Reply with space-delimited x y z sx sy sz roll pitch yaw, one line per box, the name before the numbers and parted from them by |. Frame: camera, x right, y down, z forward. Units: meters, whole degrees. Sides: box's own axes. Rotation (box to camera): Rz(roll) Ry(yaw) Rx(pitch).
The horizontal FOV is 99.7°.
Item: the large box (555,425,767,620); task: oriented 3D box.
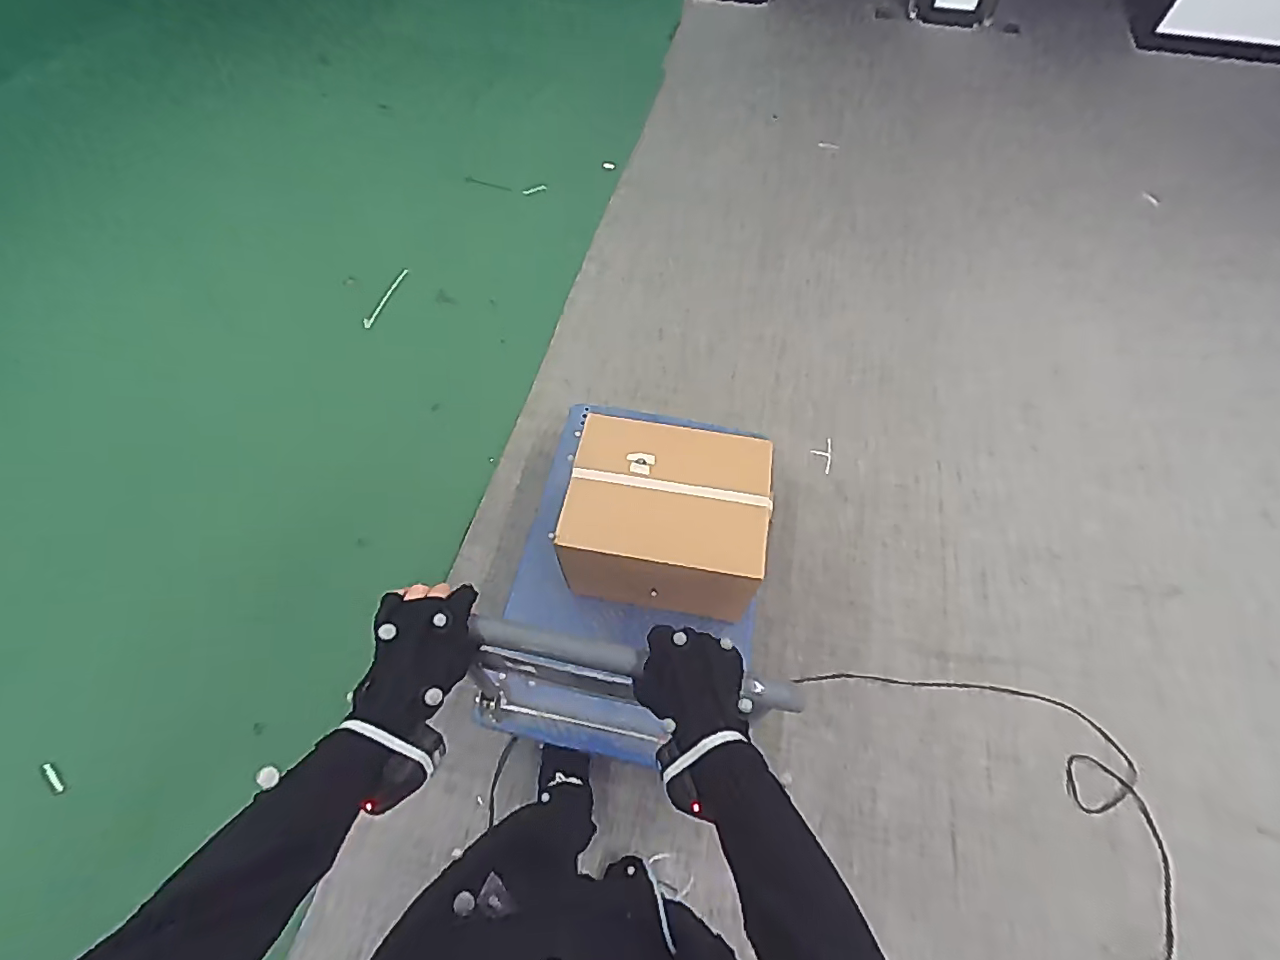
large box | 0.058 0.106 1.228 0.408 0.320 0.320 8 61 6
